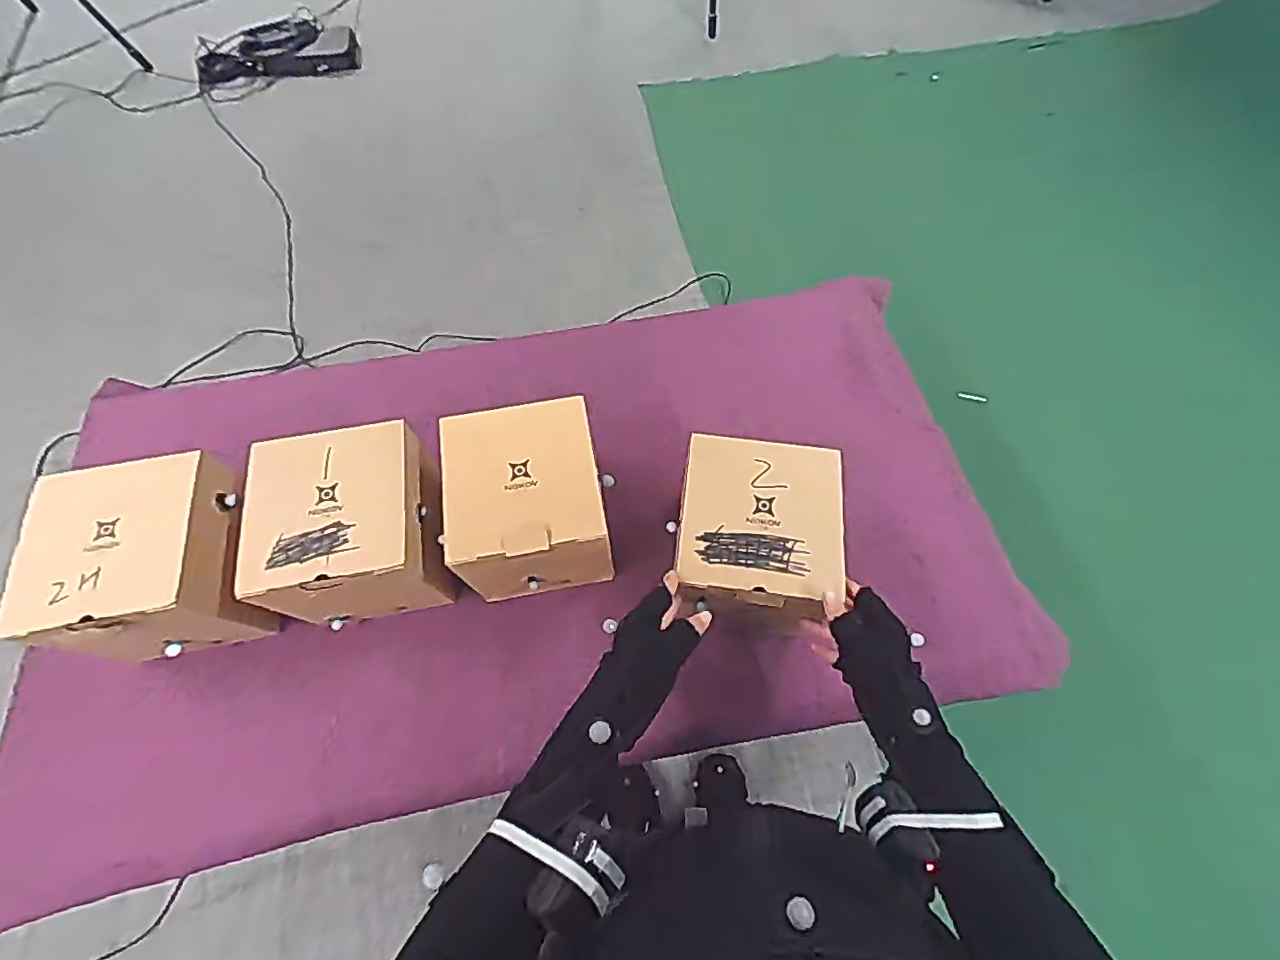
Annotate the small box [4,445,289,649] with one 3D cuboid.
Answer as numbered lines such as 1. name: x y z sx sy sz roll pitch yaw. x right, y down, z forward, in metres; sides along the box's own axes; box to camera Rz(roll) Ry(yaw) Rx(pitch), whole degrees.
1. small box: -0.539 0.084 0.626 0.168 0.176 0.179 -10 67 -4

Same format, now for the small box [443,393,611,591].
1. small box: -0.130 0.021 0.659 0.168 0.176 0.179 -10 67 -4
